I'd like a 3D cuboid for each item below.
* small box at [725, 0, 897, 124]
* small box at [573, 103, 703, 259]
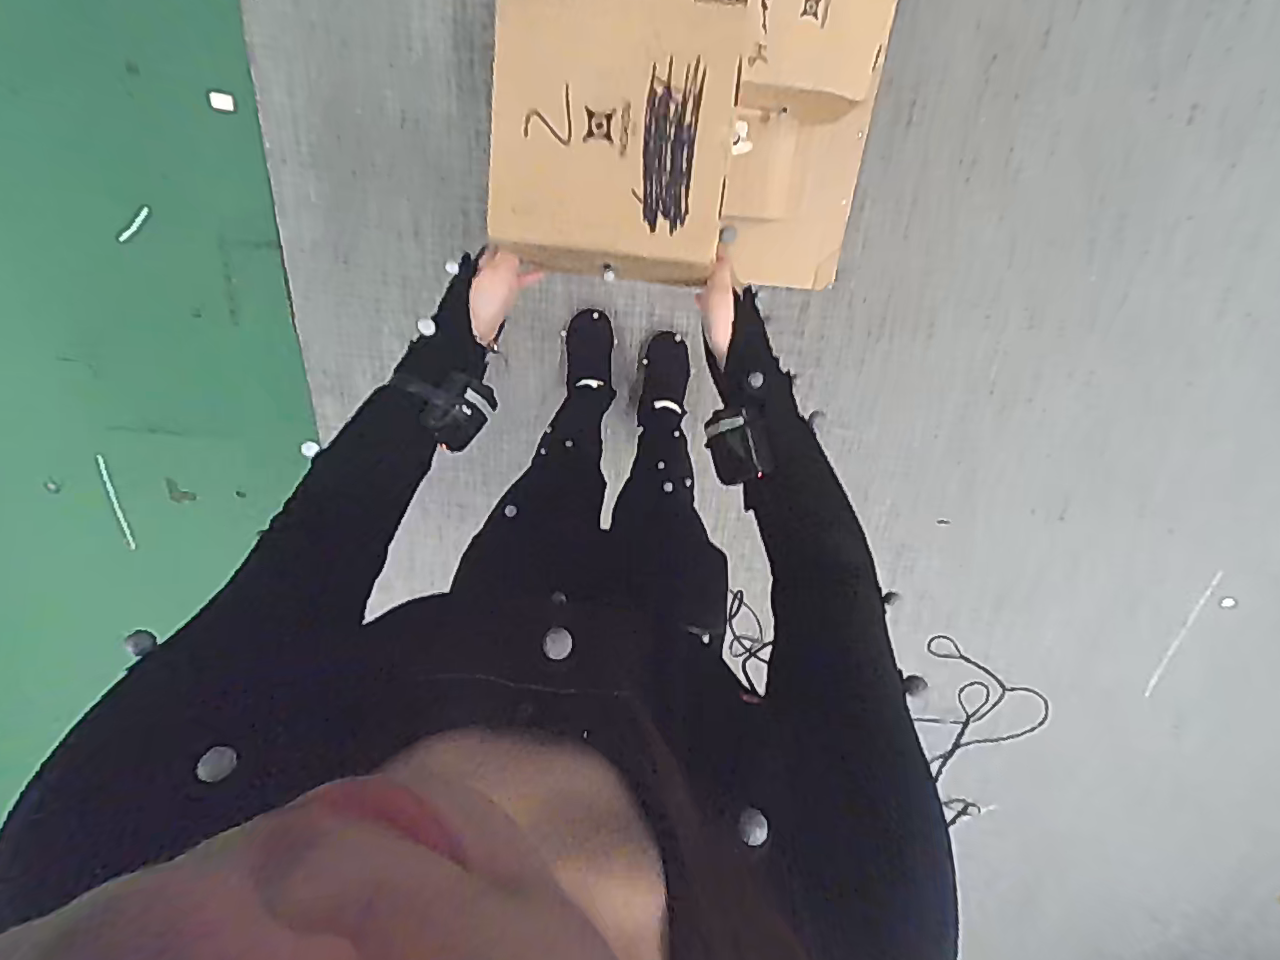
[{"bbox_3d":[0.222,-0.599,0.730,0.179,0.176,0.168,9,115,-1],"label":"small box"},{"bbox_3d":[-0.005,-0.443,0.818,0.168,0.176,0.179,6,117,-1],"label":"small box"}]
